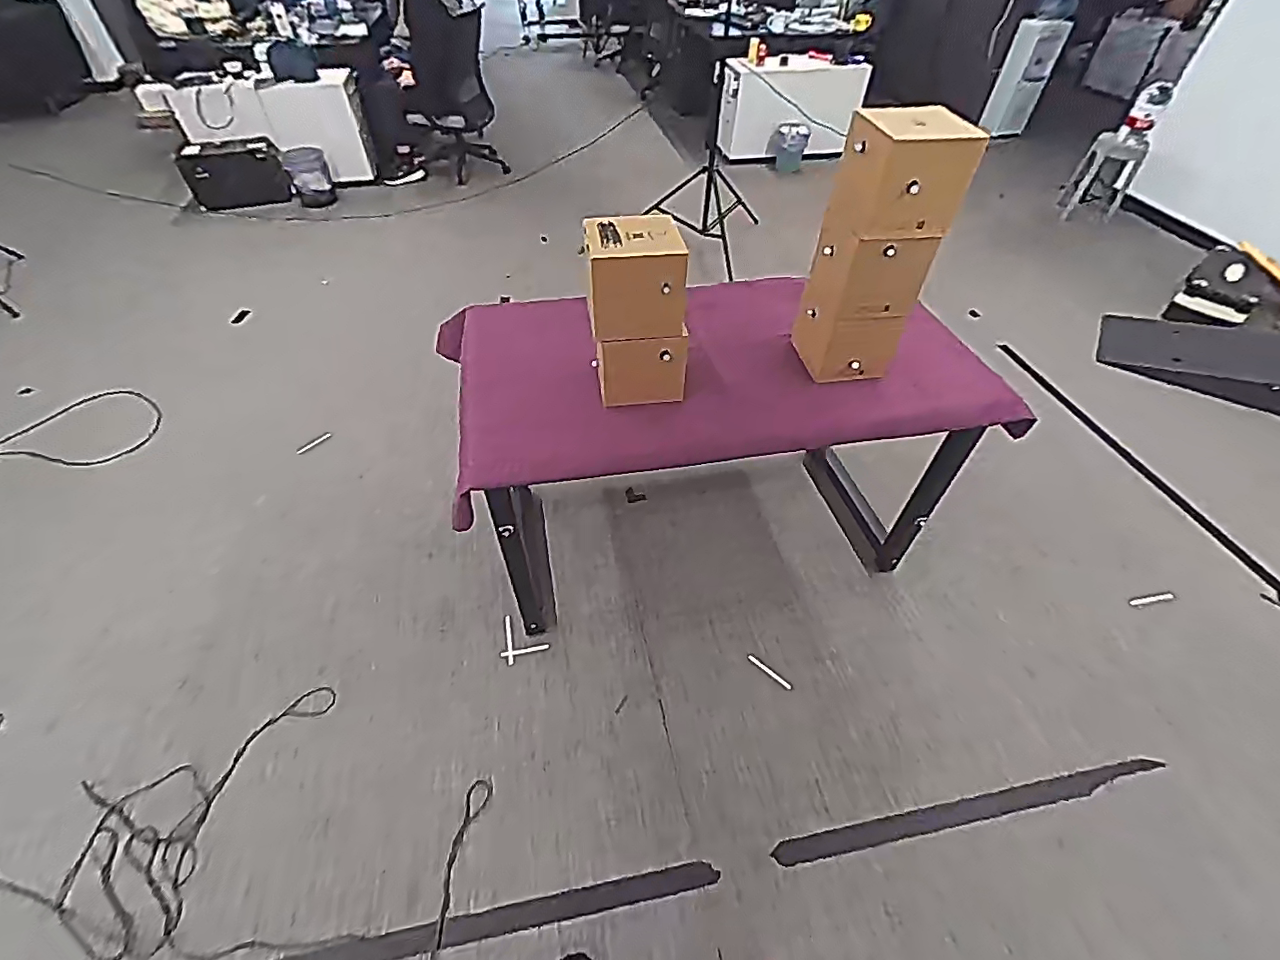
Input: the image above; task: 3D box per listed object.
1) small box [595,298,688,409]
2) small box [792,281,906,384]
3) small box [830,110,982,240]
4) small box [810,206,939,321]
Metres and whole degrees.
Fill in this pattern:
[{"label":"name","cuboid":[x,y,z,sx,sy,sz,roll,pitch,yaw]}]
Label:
[{"label":"small box","cuboid":[-0.002,-0.271,1.168,0.179,0.176,0.168,-6,47,-6]},{"label":"small box","cuboid":[0.465,-0.341,1.239,0.168,0.176,0.179,-7,49,-6]},{"label":"small box","cuboid":[0.471,-0.552,0.989,0.168,0.176,0.179,-5,48,-5]},{"label":"small box","cuboid":[0.468,-0.447,1.114,0.168,0.176,0.179,-5,47,-5]}]
